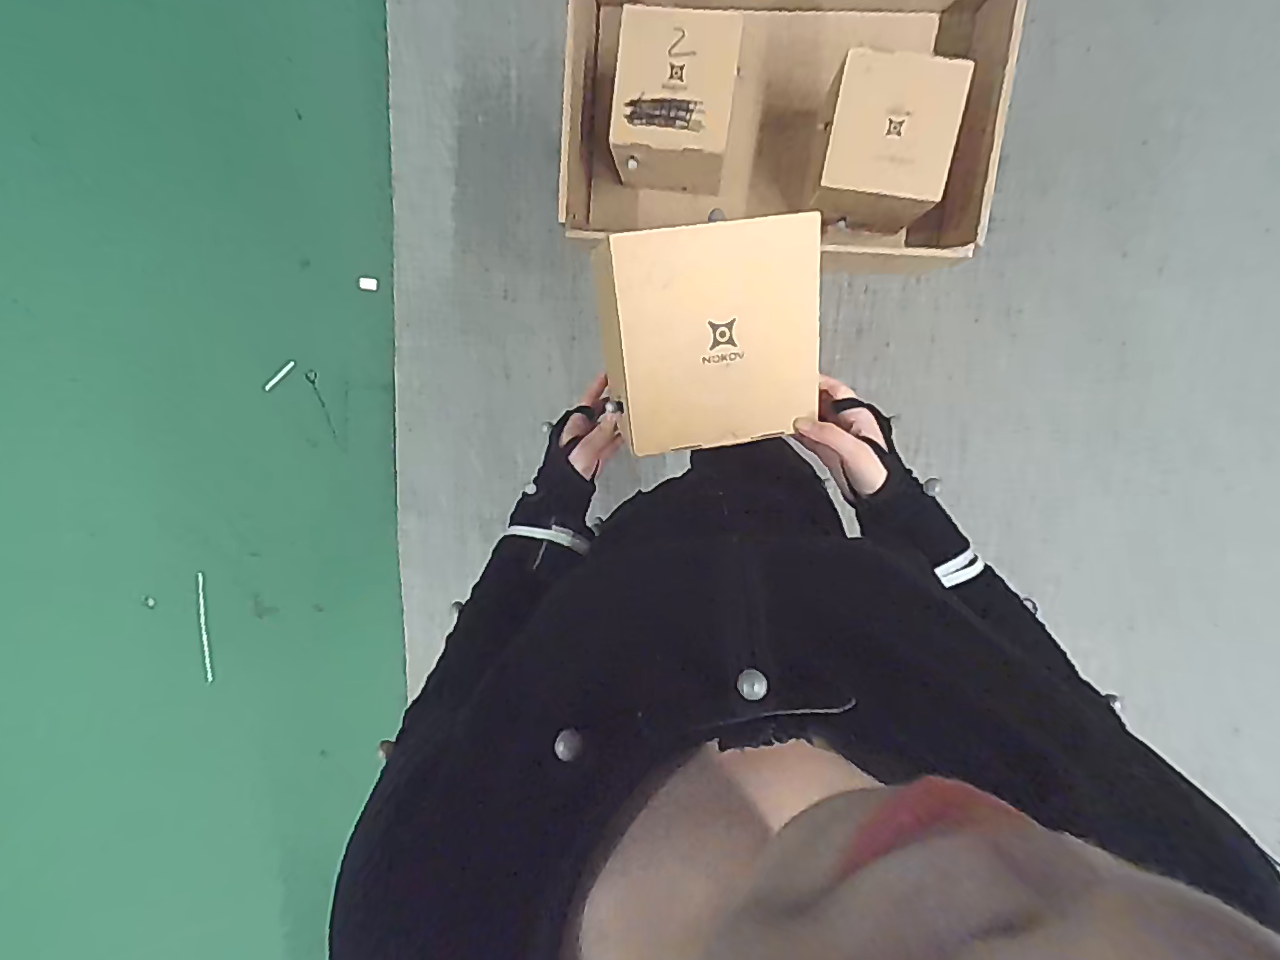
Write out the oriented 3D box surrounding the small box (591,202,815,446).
[{"bbox_3d":[0.049,-0.145,0.507,0.168,0.176,0.179,-9,111,-6],"label":"small box"}]
